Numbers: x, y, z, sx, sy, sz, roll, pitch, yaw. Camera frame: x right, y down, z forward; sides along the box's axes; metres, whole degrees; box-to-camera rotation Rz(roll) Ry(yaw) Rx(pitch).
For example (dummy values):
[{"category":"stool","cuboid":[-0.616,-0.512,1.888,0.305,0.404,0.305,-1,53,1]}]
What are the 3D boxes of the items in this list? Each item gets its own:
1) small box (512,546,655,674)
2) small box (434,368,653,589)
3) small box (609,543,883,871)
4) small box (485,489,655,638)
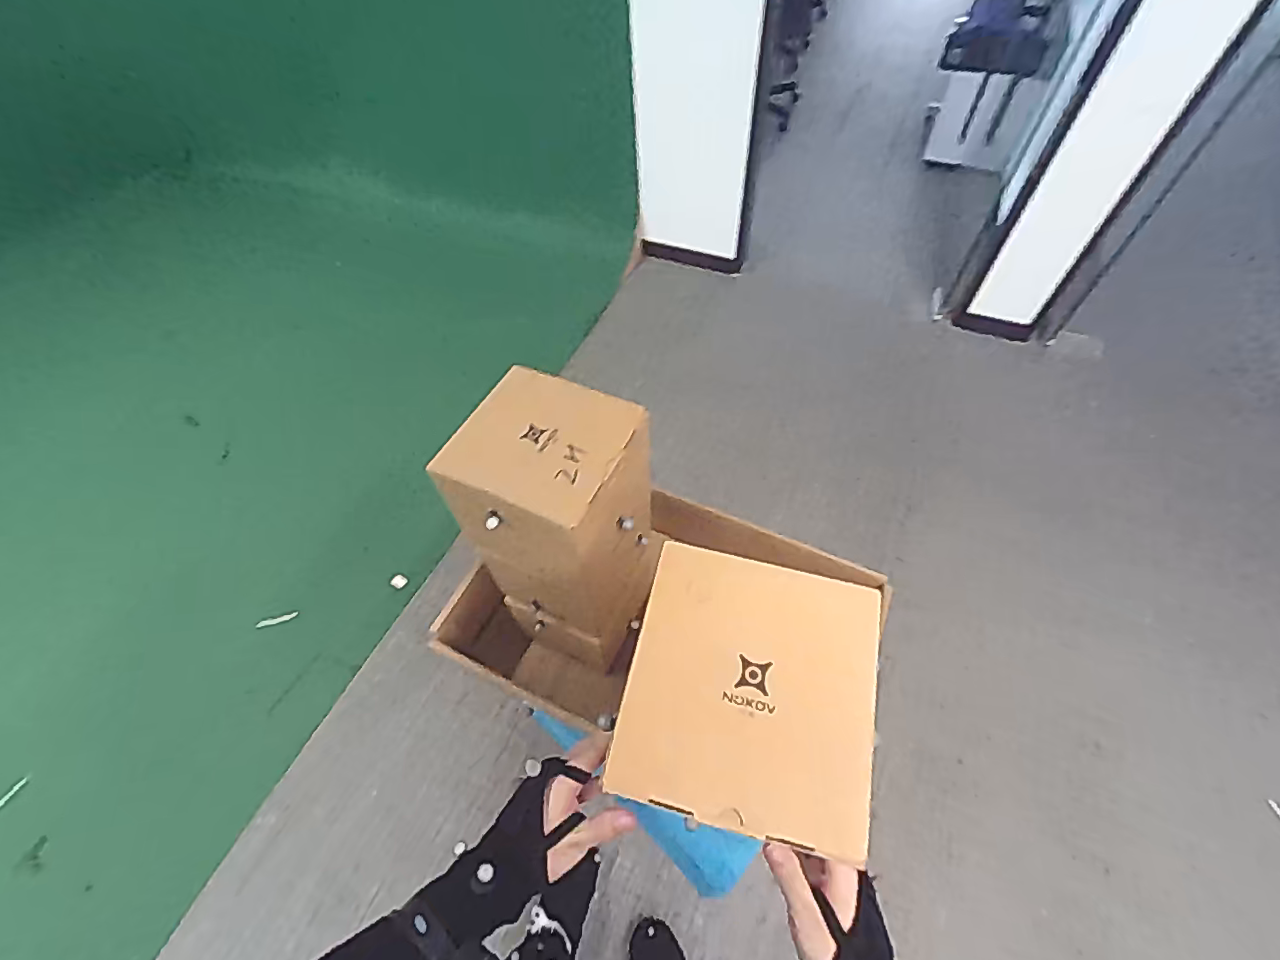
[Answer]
[{"category":"small box","cuboid":[-0.084,0.190,0.899,0.168,0.176,0.179,21,58,16]},{"category":"small box","cuboid":[-0.096,0.003,0.631,0.179,0.176,0.168,21,59,16]},{"category":"small box","cuboid":[0.078,0.176,0.435,0.168,0.176,0.179,12,63,7]},{"category":"small box","cuboid":[-0.089,0.093,0.768,0.168,0.176,0.179,21,59,15]}]
